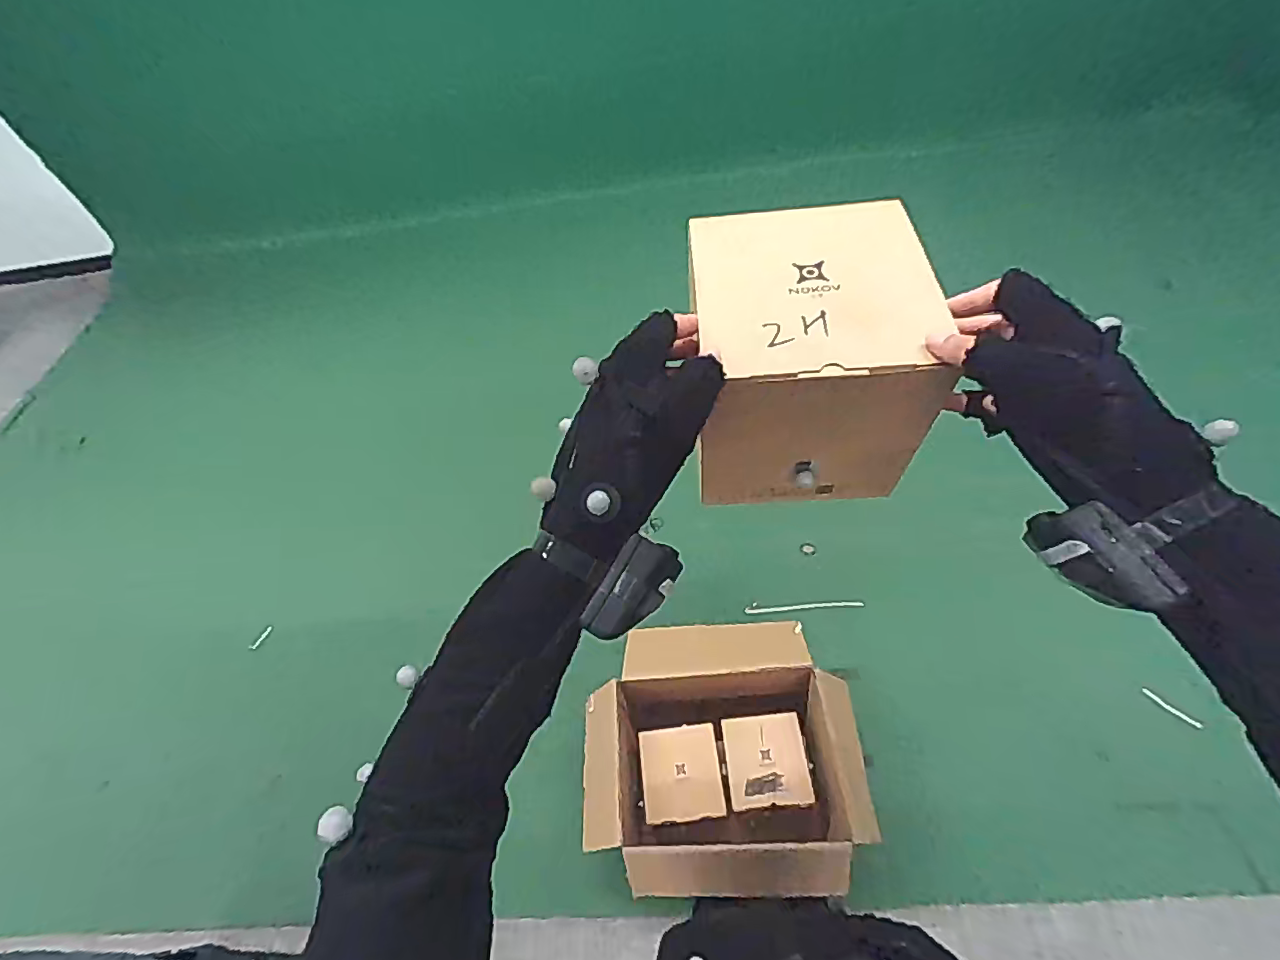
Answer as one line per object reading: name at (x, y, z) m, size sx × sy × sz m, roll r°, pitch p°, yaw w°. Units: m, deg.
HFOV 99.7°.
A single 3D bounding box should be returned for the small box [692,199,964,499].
small box at (0.128, -0.101, 0.450) m, size 0.168 × 0.176 × 0.179 m, roll -2°, pitch 59°, yaw 5°
